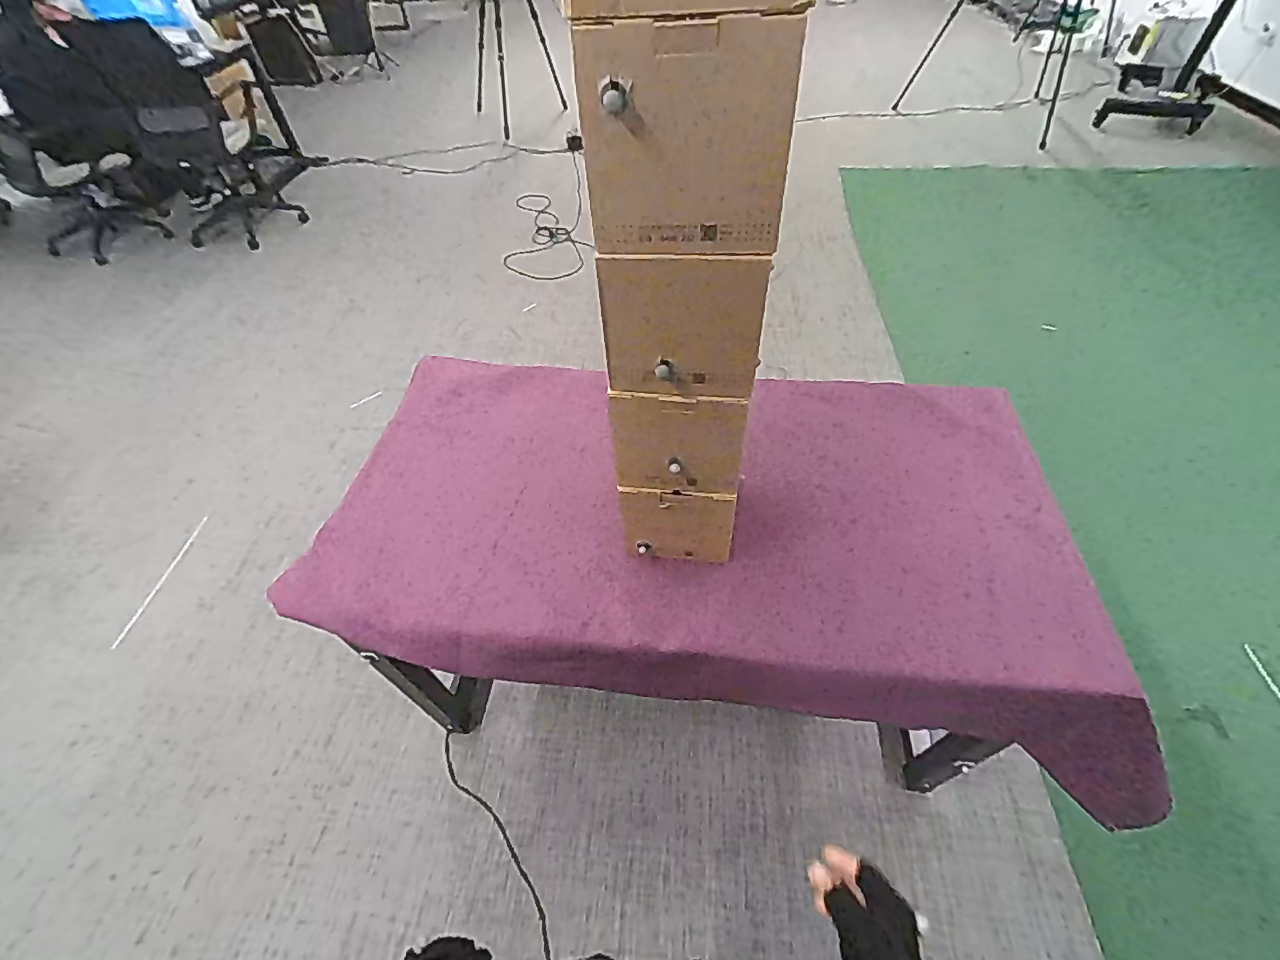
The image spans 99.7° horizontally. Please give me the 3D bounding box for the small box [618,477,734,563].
[{"bbox_3d":[0.065,0.014,0.858,0.168,0.176,0.179,5,49,7],"label":"small box"}]

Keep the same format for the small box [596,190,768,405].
[{"bbox_3d":[0.052,-0.209,0.619,0.168,0.176,0.179,4,50,7],"label":"small box"}]

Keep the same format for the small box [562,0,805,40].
[{"bbox_3d":[0.034,-0.428,0.378,0.179,0.176,0.168,4,48,7],"label":"small box"}]

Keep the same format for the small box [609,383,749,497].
[{"bbox_3d":[0.058,-0.099,0.739,0.168,0.176,0.179,4,50,7],"label":"small box"}]
